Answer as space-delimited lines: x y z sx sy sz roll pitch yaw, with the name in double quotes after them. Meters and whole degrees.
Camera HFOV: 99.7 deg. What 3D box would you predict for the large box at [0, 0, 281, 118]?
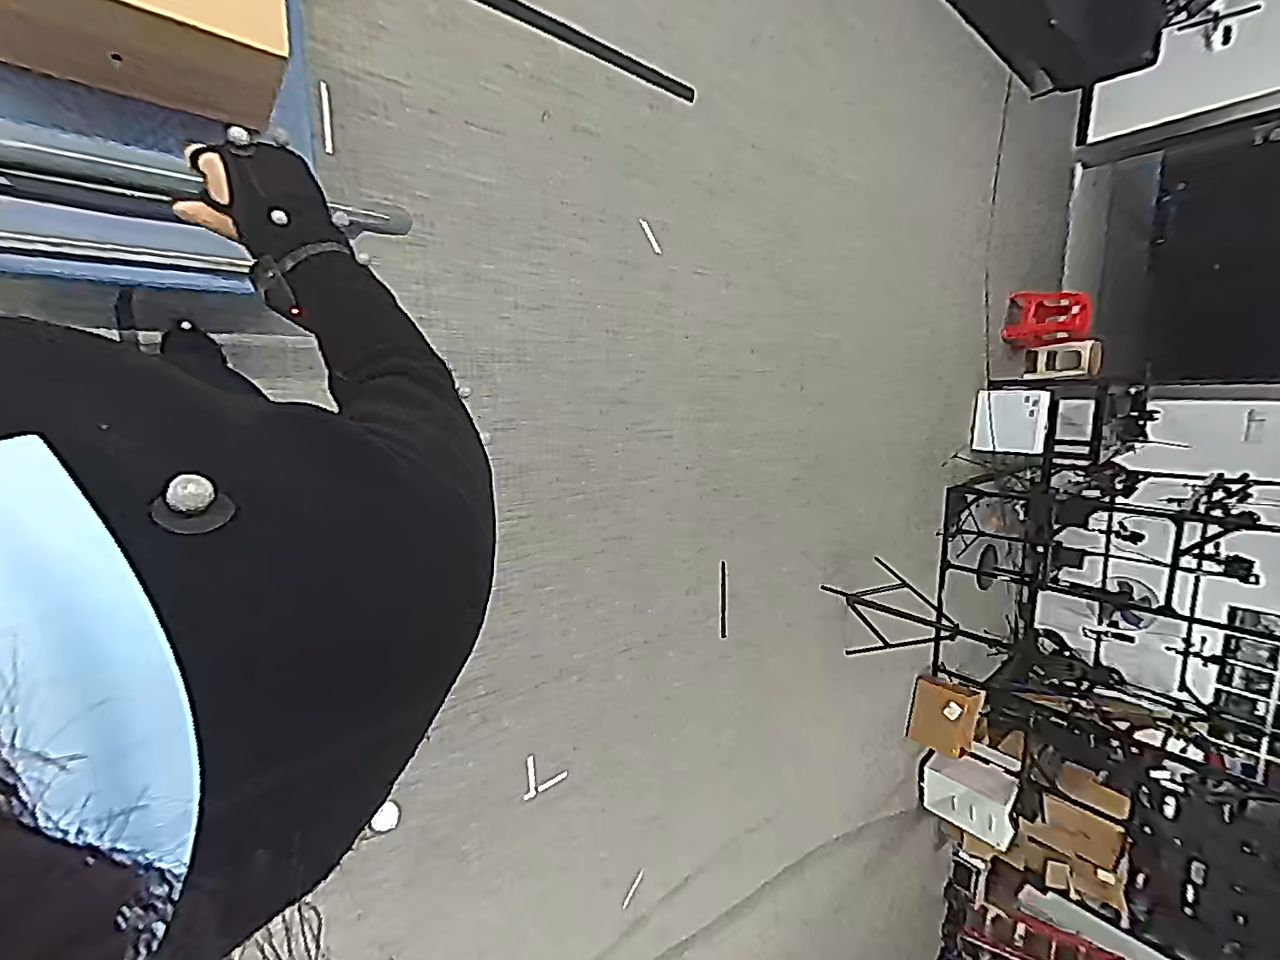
-0.795 -0.803 0.788 0.408 0.320 0.320 -8 101 -39 "large box"
